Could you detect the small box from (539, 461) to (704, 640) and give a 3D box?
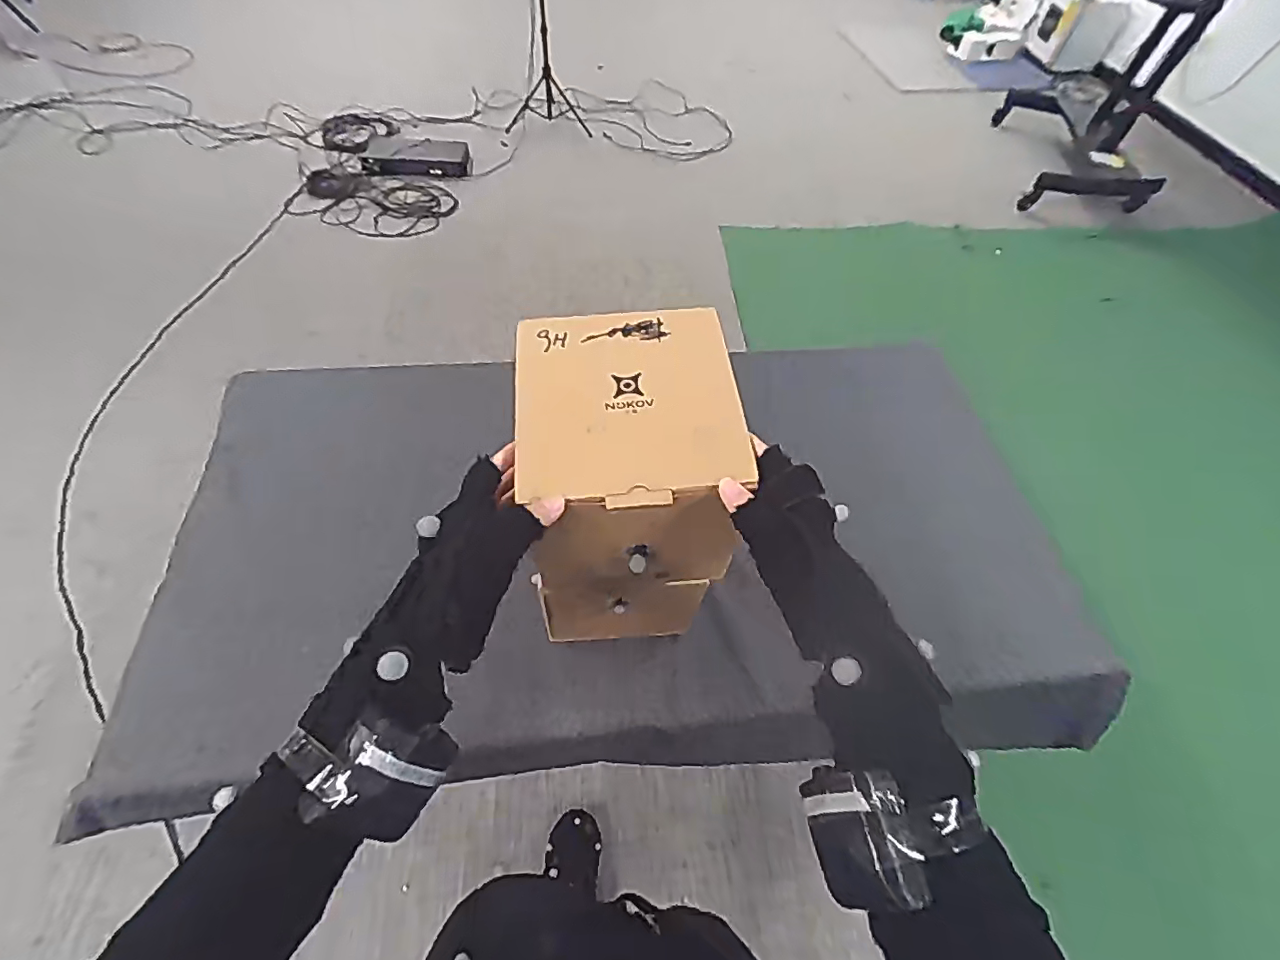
[{"bbox_3d":[-0.029,0.092,0.671,0.179,0.176,0.168,-2,57,-7],"label":"small box"}]
